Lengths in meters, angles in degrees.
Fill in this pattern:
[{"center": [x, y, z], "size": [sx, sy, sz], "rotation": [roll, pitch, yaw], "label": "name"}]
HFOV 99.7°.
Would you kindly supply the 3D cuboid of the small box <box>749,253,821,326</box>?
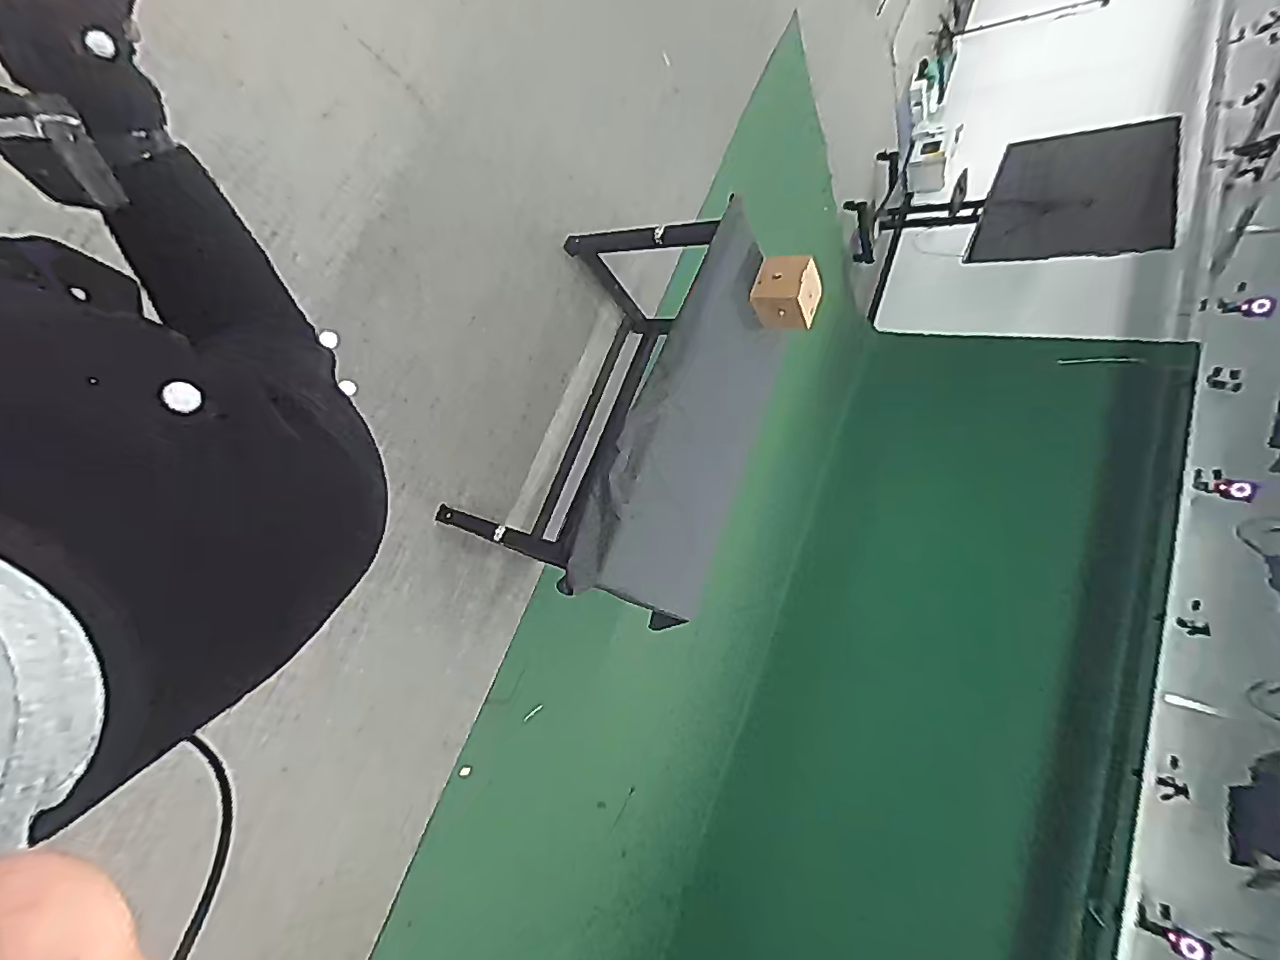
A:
[{"center": [0.490, -0.638, 1.830], "size": [0.179, 0.176, 0.168], "rotation": [38, 71, -53], "label": "small box"}]
